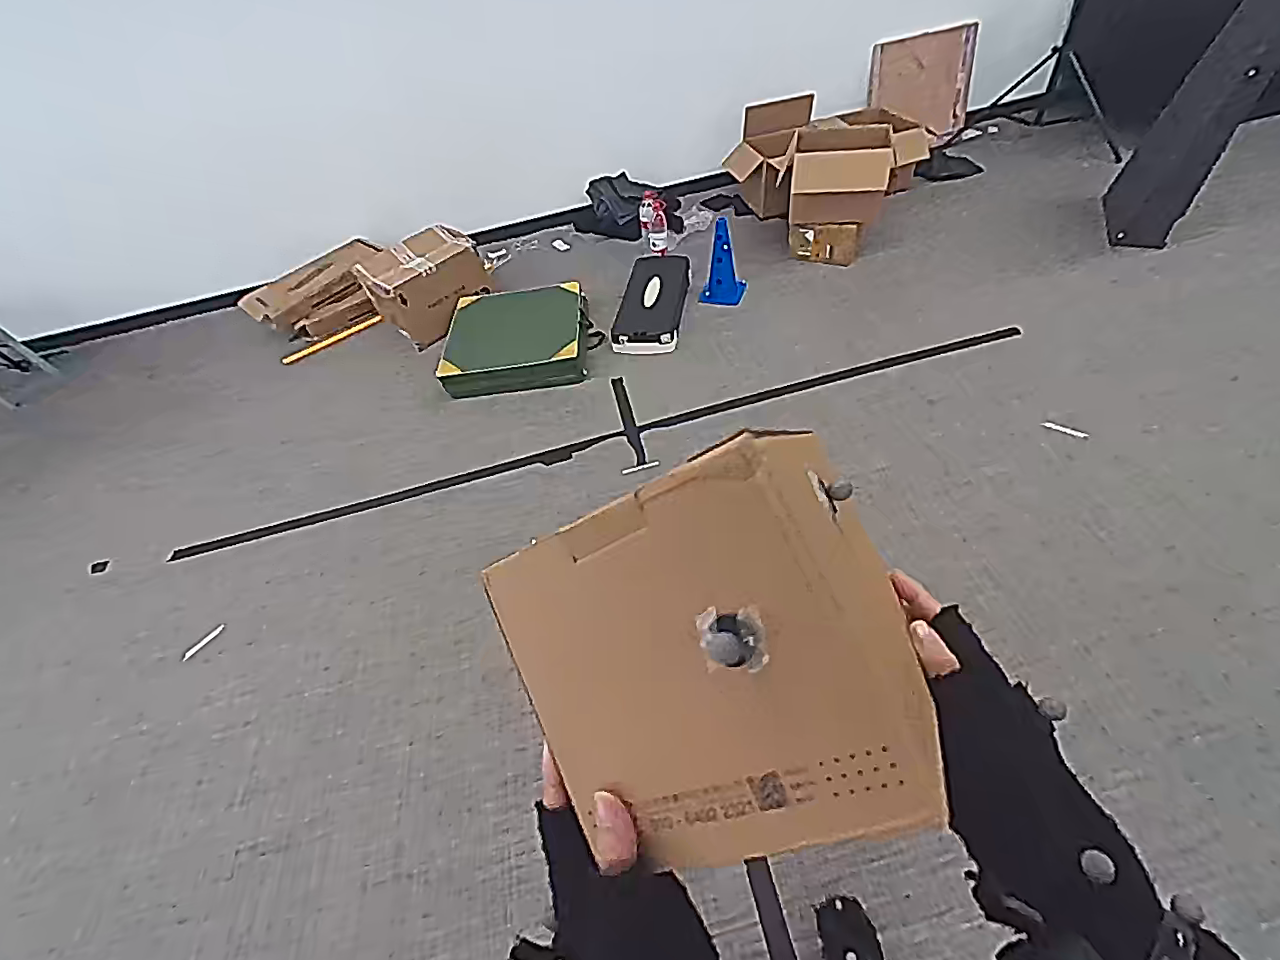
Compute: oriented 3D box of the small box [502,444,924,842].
[{"bbox_3d":[0.055,0.091,0.335,0.168,0.179,0.176,-28,81,25],"label":"small box"}]
